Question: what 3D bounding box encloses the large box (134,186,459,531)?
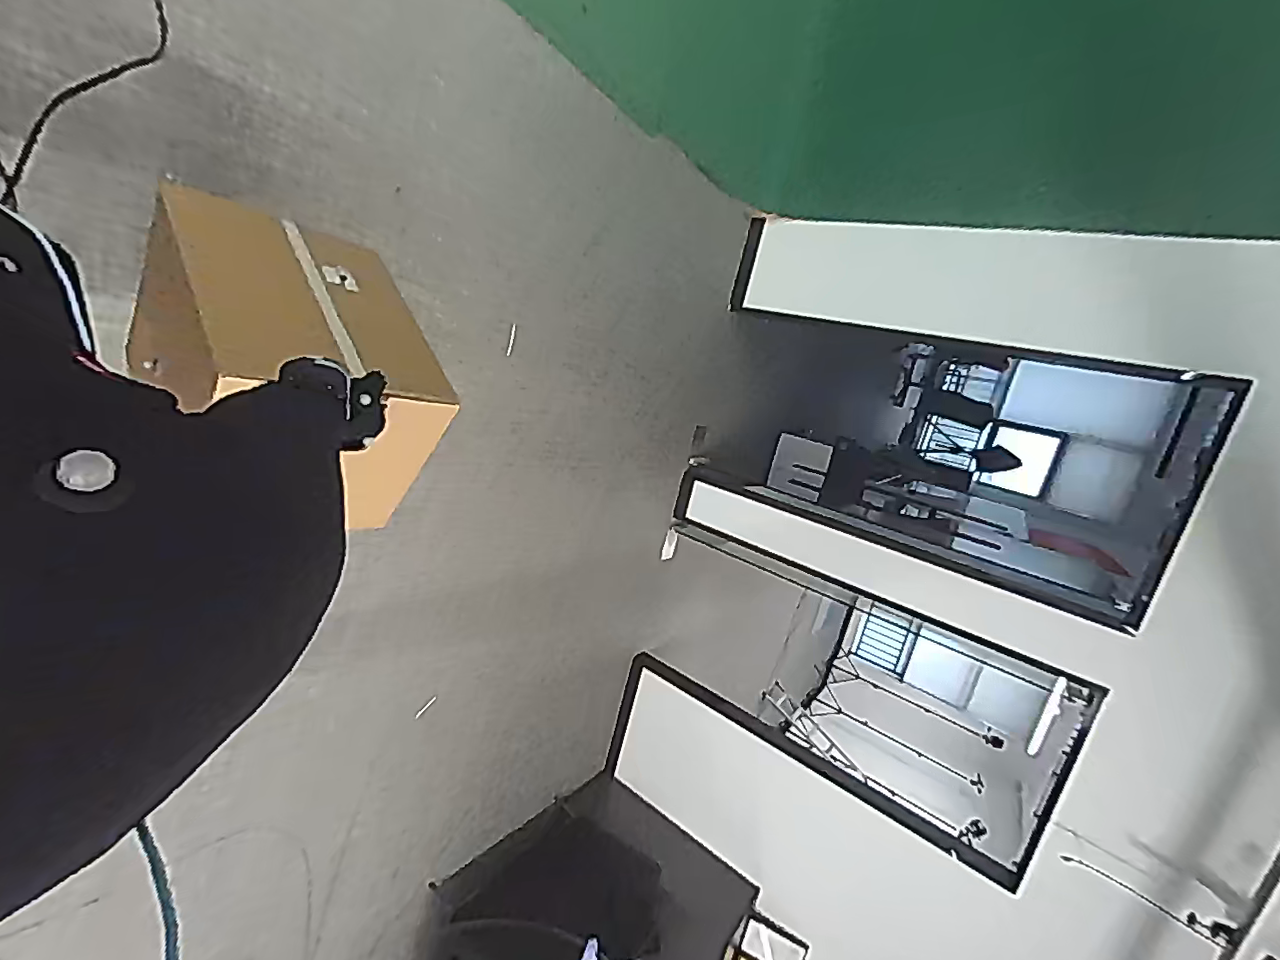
[{"bbox_3d":[-0.569,-0.174,0.881,0.320,0.408,0.320,-47,154,27],"label":"large box"}]
